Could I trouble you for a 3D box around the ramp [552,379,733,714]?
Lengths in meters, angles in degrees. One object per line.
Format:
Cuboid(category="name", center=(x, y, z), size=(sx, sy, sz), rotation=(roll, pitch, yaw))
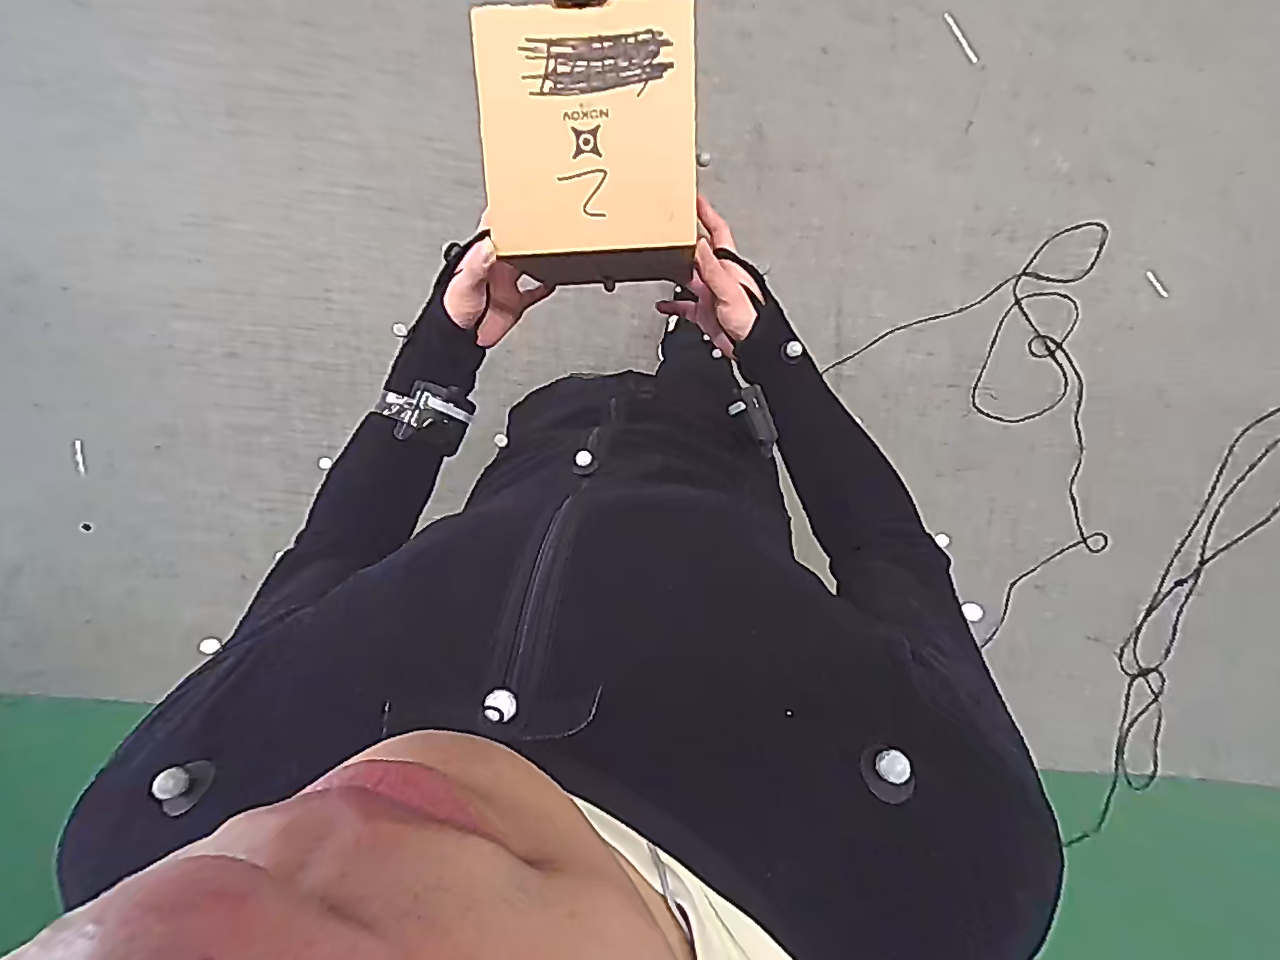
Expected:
Cuboid(category="ramp", center=(0.000, 0.211, 1.636), size=(0.509, 0.206, 0.991), rotation=(2, 104, 1))
